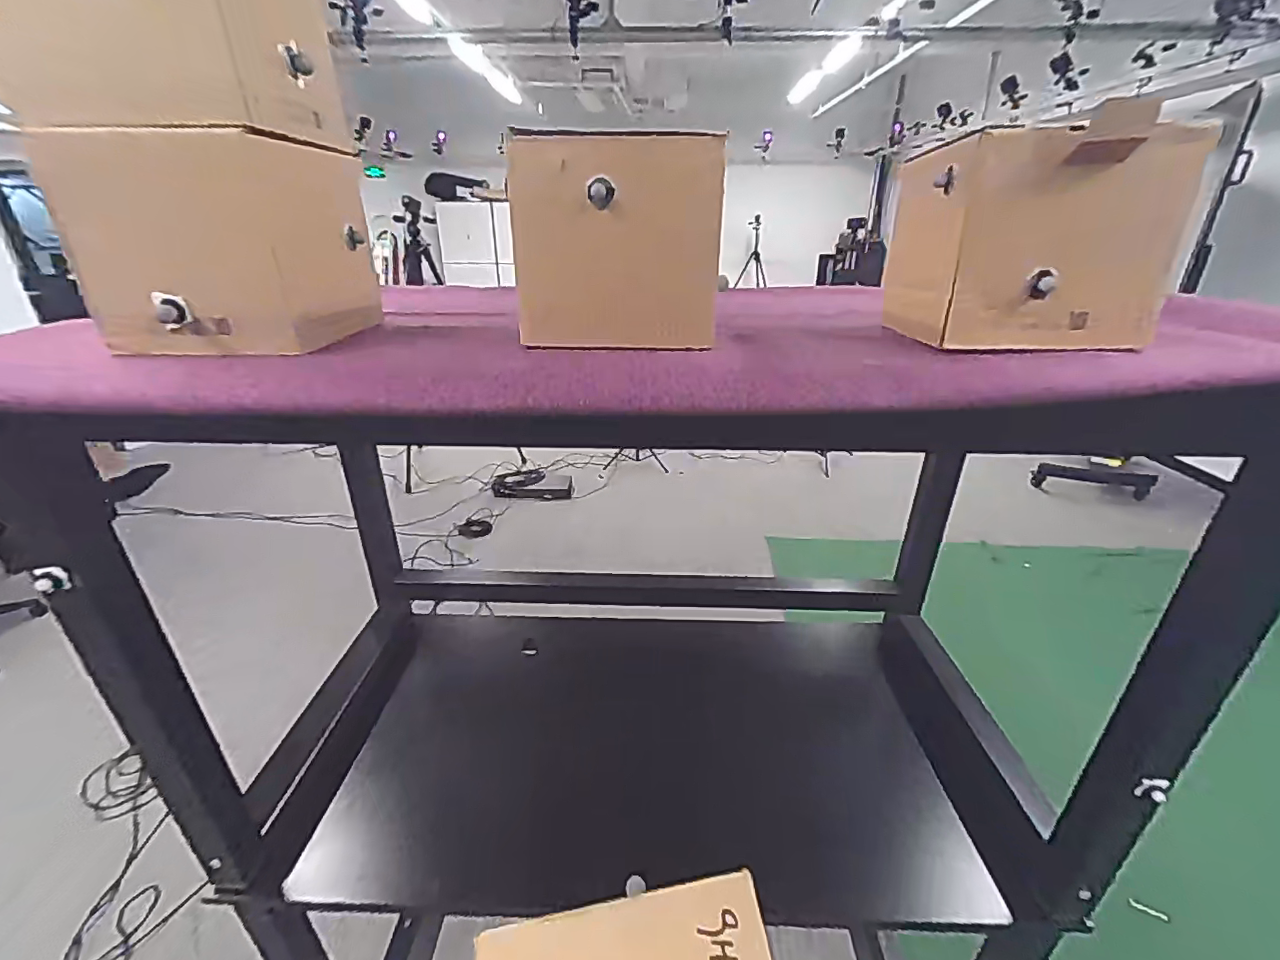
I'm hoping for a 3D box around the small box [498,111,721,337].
[{"bbox_3d":[-0.019,-0.232,0.516,0.179,0.176,0.168,1,24,2],"label":"small box"}]

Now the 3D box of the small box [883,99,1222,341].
[{"bbox_3d":[0.340,-0.227,0.497,0.168,0.176,0.179,0,23,5],"label":"small box"}]

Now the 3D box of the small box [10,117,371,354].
[{"bbox_3d":[-0.369,-0.218,0.494,0.168,0.176,0.179,-2,27,-1],"label":"small box"}]

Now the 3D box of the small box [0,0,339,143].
[{"bbox_3d":[-0.376,-0.368,0.424,0.179,0.176,0.168,-2,26,-2],"label":"small box"}]
